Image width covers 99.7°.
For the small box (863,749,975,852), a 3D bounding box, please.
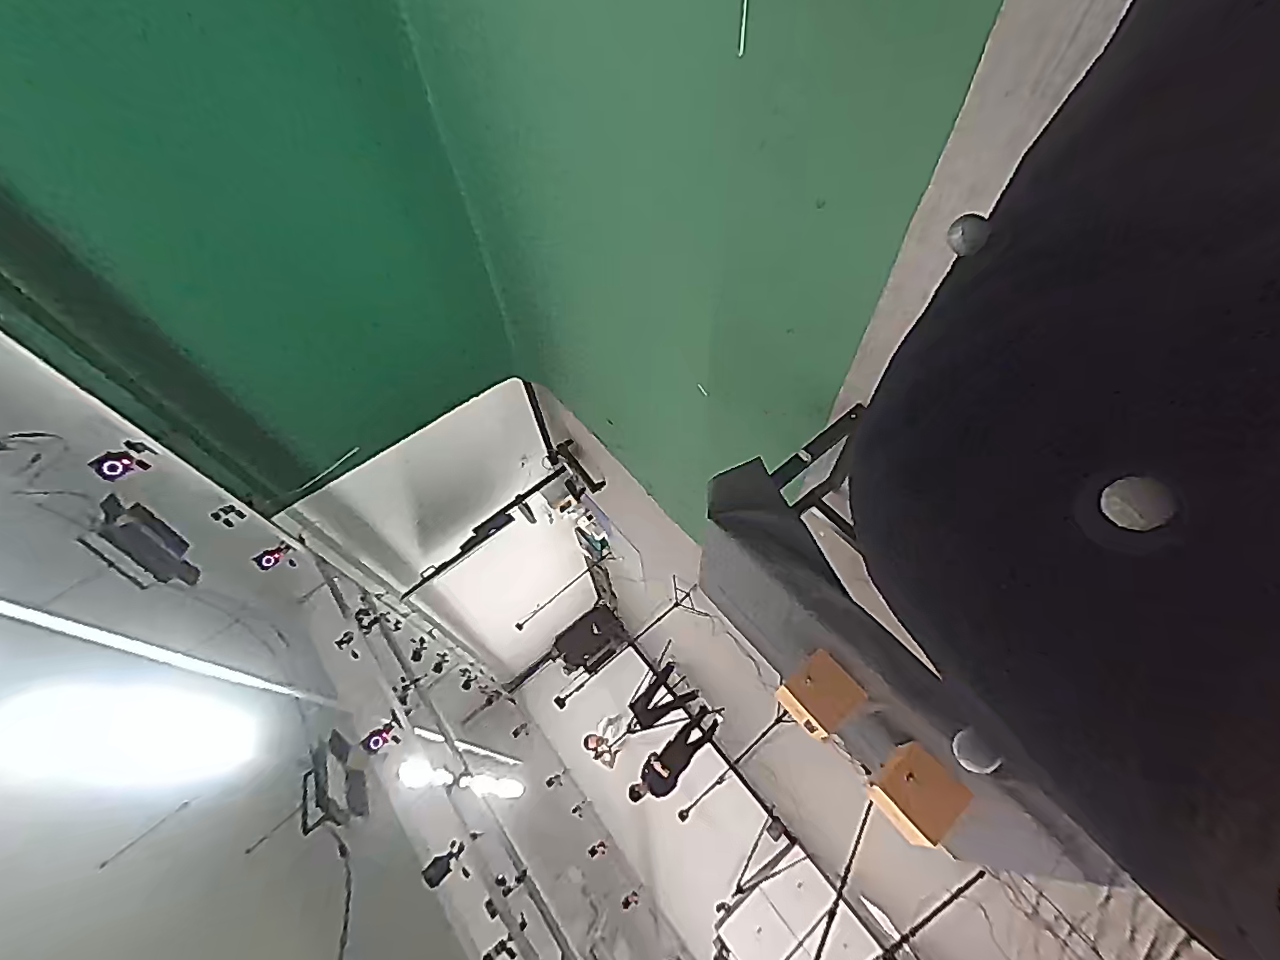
[{"bbox_3d":[0.735,0.840,1.434,0.179,0.176,0.168,44,161,26],"label":"small box"}]
